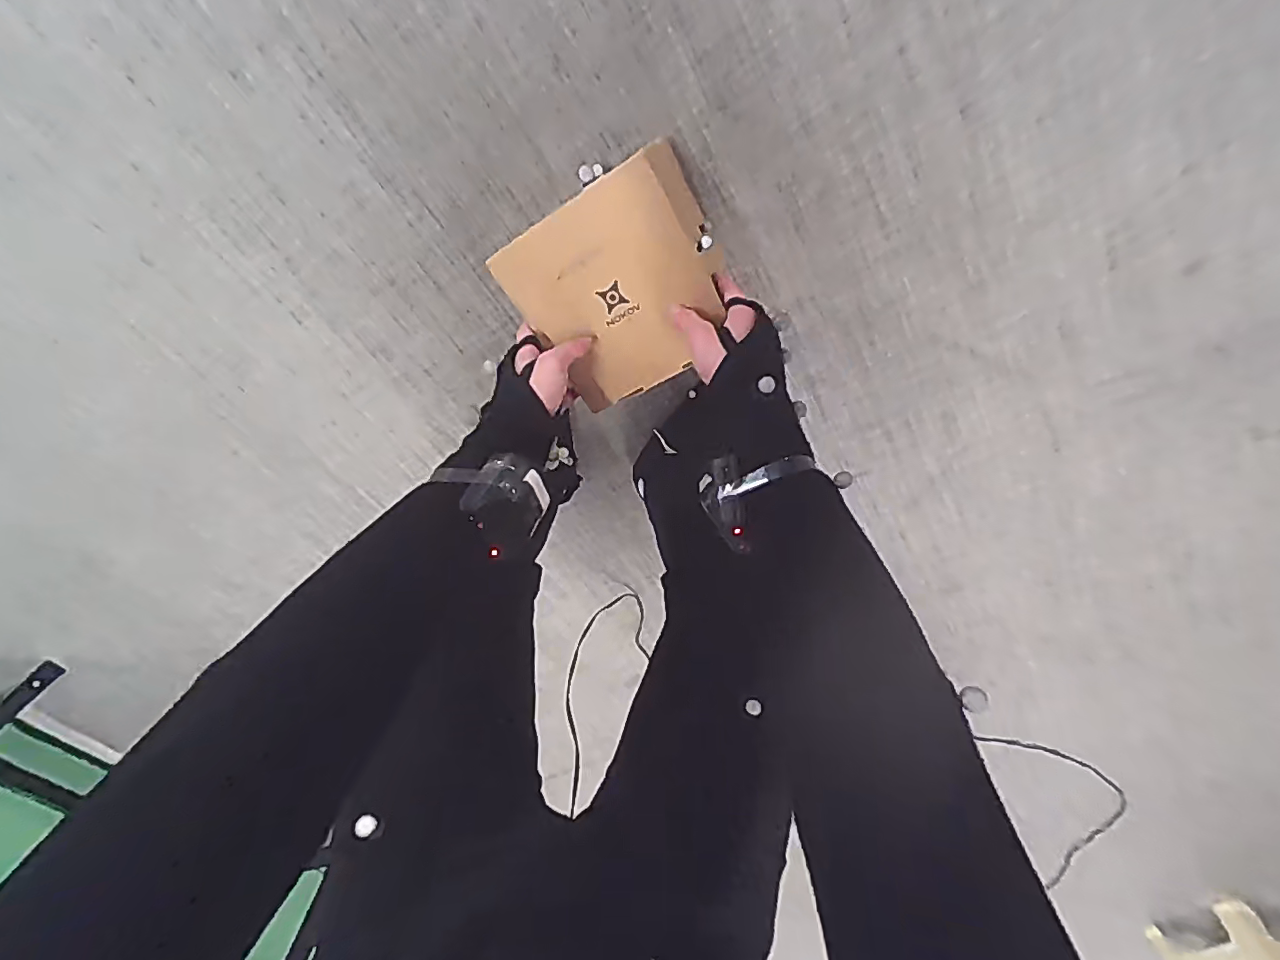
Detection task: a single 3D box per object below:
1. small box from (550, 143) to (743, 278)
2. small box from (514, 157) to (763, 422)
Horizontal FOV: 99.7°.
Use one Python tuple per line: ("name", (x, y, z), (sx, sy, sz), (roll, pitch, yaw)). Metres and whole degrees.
("small box", (0.018, -0.299, 0.692), (0.179, 0.176, 0.168), (-25, 117, 21))
("small box", (0.009, -0.195, 0.543), (0.168, 0.176, 0.179), (-25, 117, 20))
